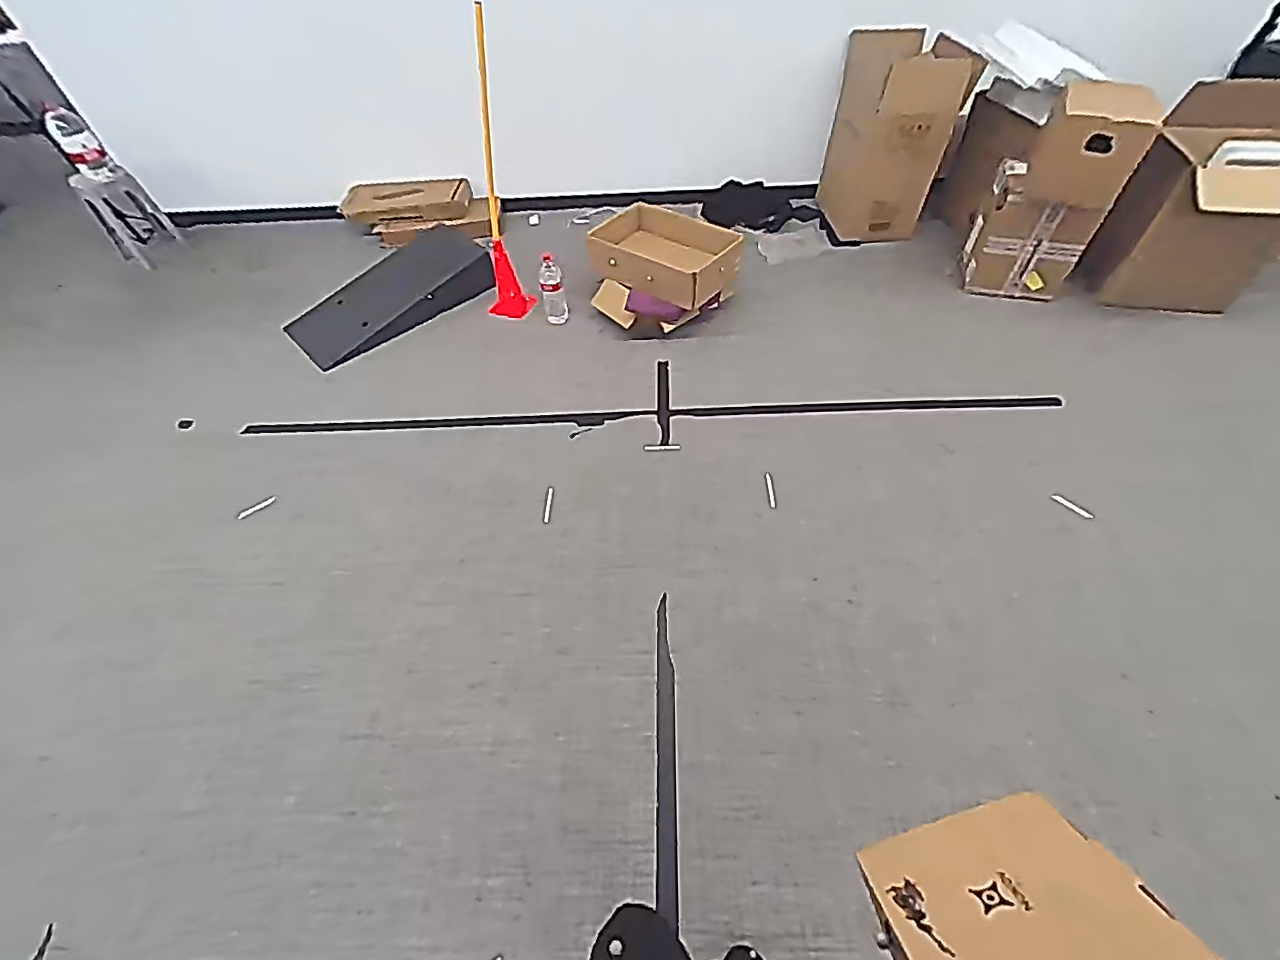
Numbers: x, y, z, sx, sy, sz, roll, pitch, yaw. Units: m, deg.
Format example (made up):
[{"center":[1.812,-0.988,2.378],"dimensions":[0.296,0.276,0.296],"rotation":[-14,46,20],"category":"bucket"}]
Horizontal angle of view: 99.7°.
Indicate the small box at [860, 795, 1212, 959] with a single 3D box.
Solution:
[{"center":[0.311,0.403,0.431],"dimensions":[0.179,0.168,0.176],"rotation":[-19,92,2],"category":"small box"}]
